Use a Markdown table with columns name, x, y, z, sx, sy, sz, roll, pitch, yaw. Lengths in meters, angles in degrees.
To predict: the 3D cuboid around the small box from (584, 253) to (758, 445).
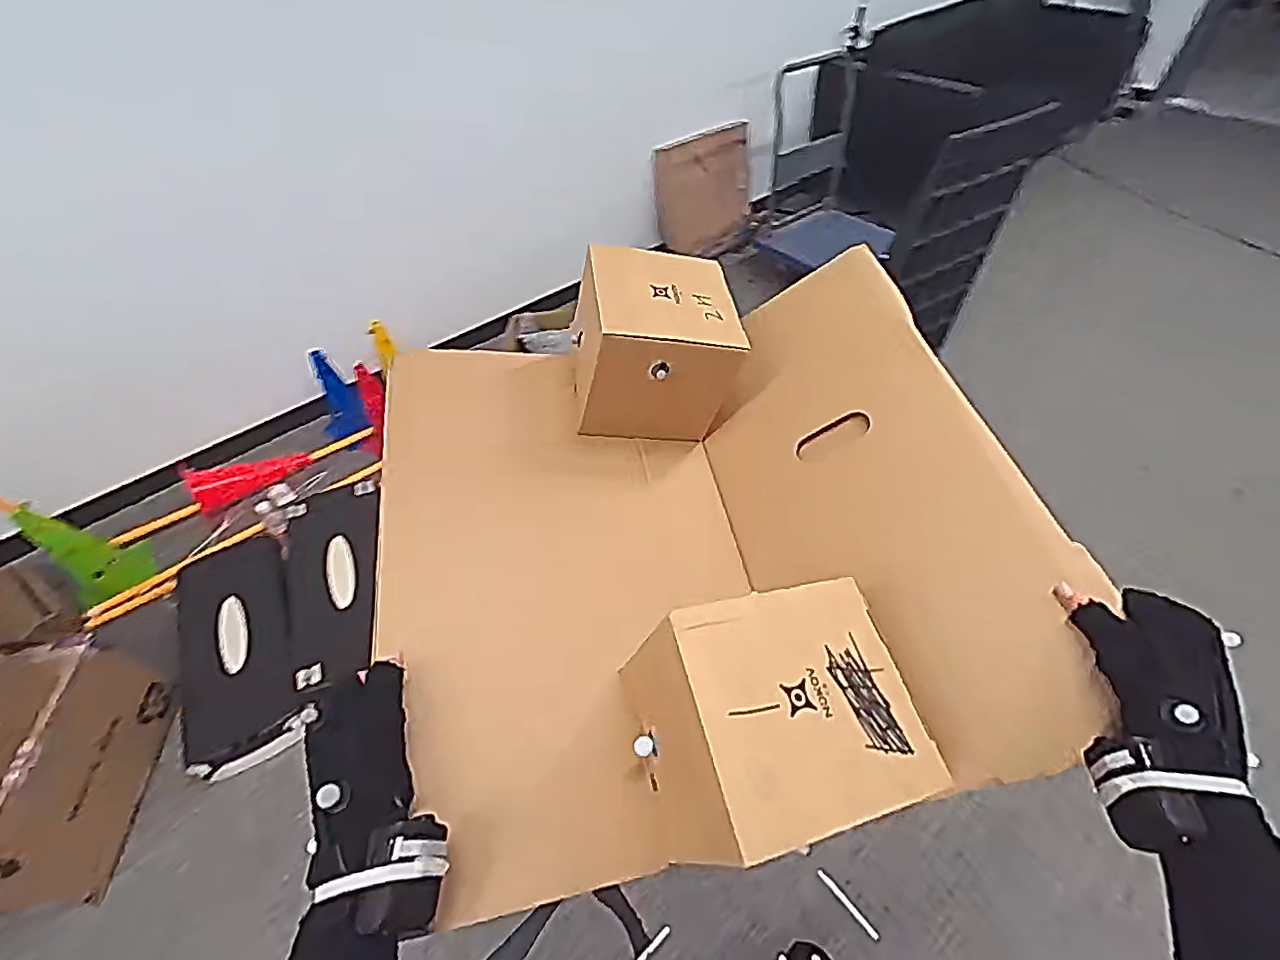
| name | x | y | z | sx | sy | sz | roll | pitch | yaw |
| --- | --- | --- | --- | --- | --- | --- | --- | --- | --- |
| small box | 0.024 | -0.160 | 0.696 | 0.179 | 0.176 | 0.168 | 3 | 55 | -16 |
